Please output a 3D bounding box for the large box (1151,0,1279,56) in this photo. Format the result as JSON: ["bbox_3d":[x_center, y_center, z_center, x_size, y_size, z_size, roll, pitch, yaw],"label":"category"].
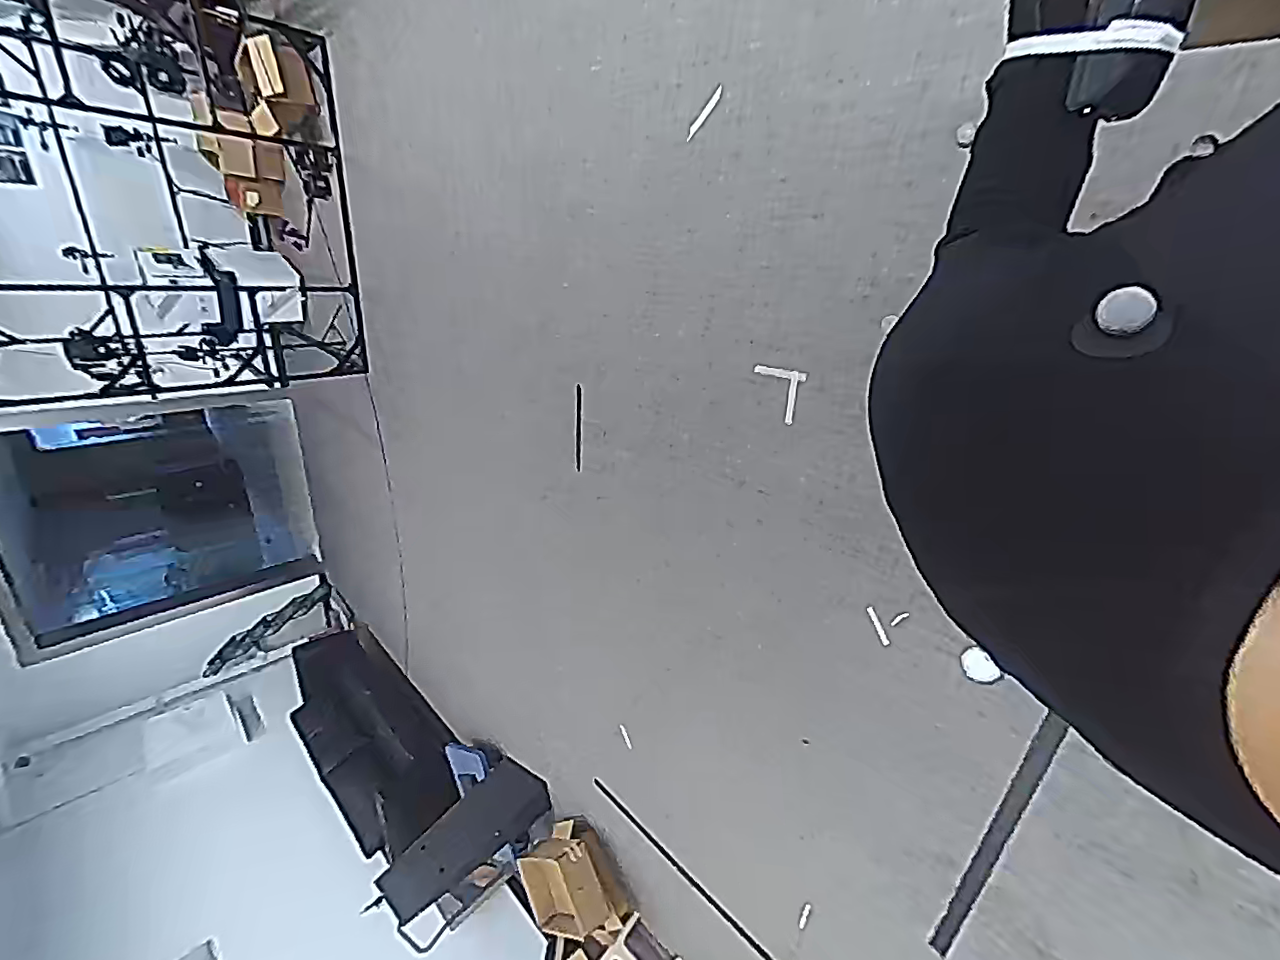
[{"bbox_3d":[0.537,-0.435,0.234,0.408,0.320,0.320,21,125,36],"label":"large box"}]
